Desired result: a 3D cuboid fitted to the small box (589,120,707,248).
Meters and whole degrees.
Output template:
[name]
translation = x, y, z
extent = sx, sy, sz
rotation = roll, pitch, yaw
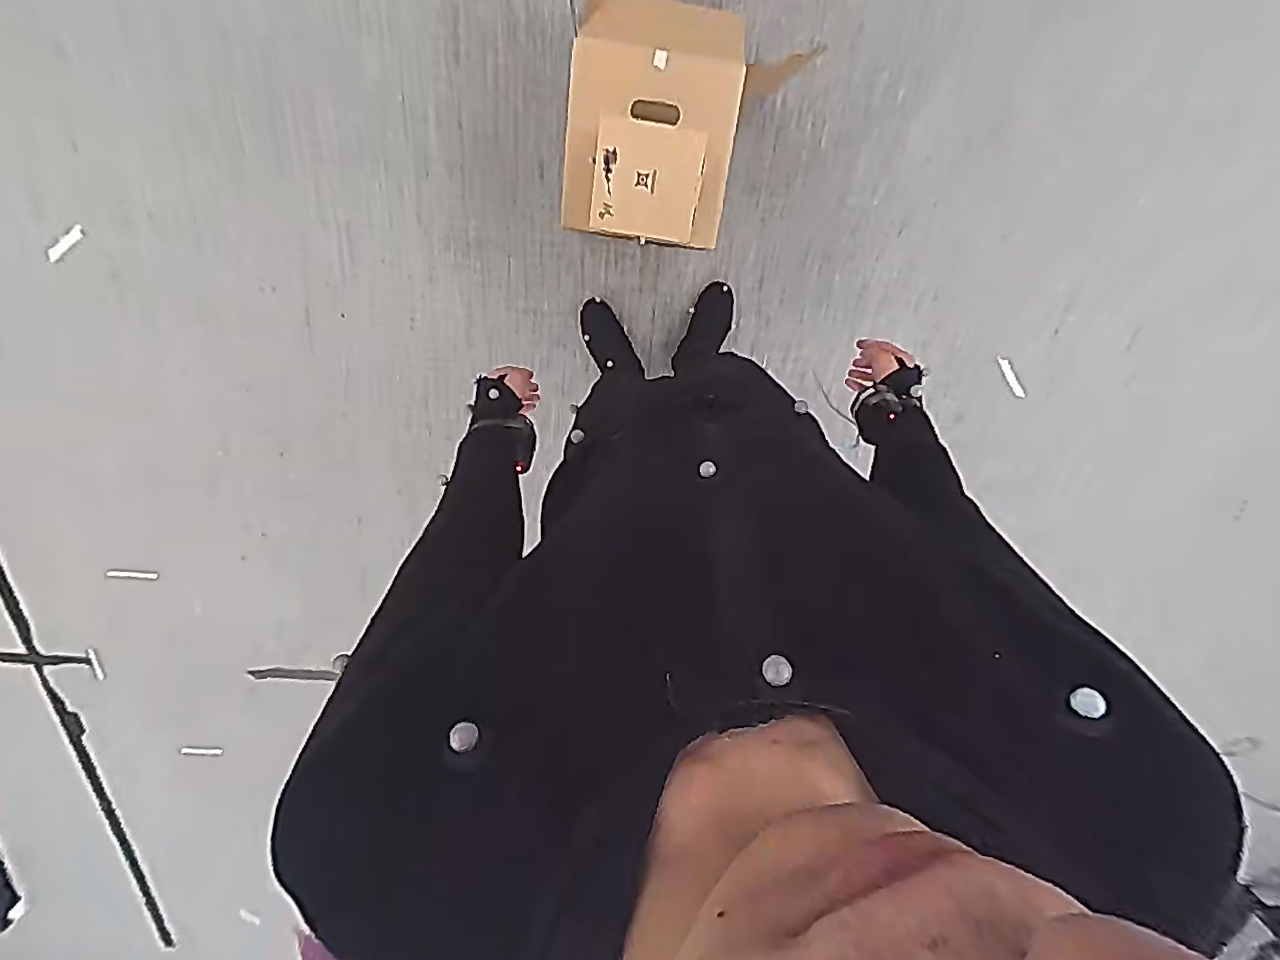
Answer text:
[small box]
translation = 0.007, -0.521, 0.967
extent = 0.179, 0.176, 0.168
rotation = 7, 114, -6
